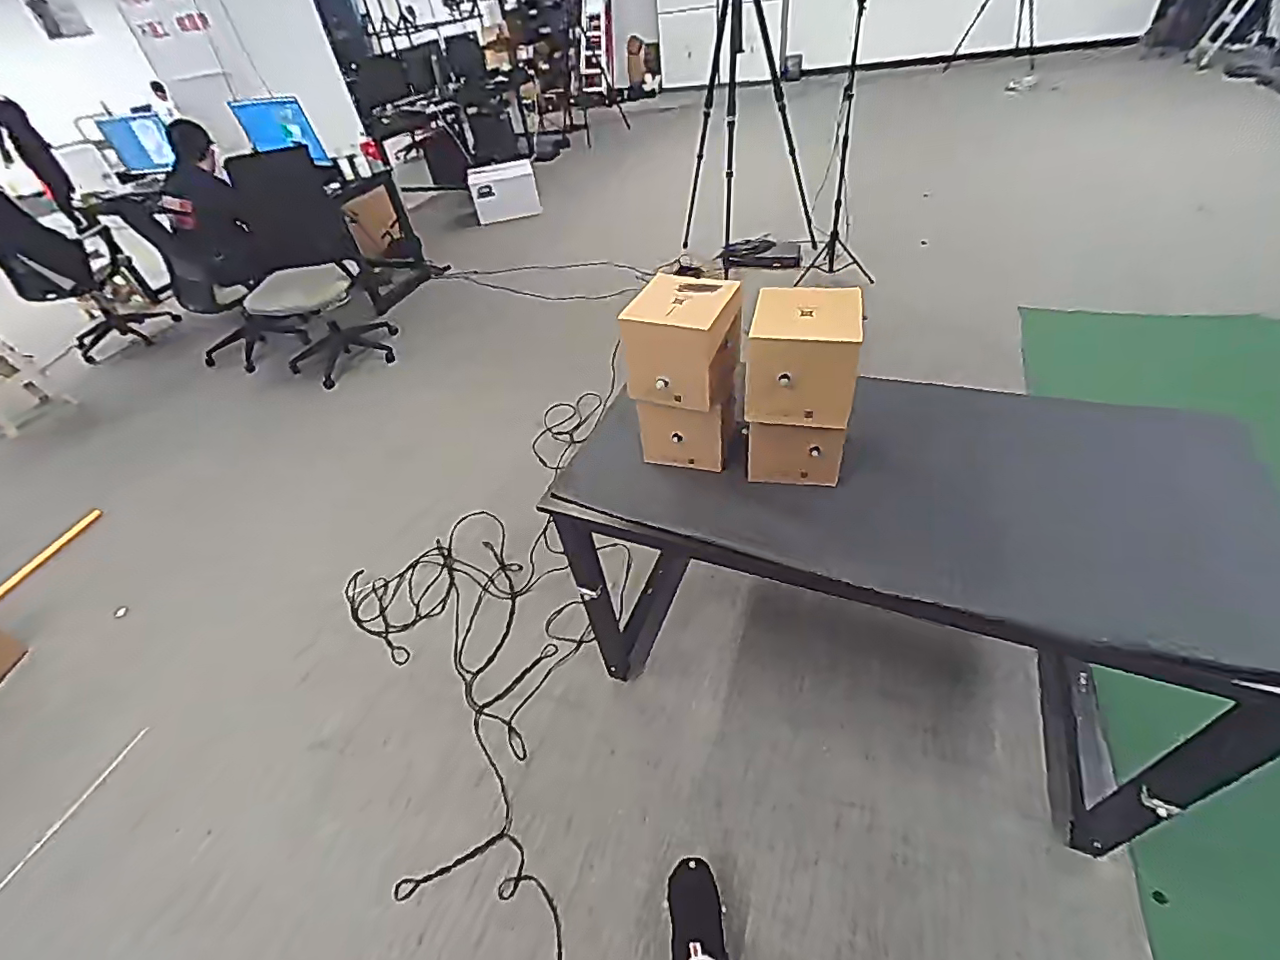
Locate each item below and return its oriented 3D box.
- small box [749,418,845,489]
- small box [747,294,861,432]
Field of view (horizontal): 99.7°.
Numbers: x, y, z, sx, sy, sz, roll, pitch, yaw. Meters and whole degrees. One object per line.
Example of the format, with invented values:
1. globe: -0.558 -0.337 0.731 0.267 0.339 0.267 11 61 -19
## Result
1. small box: 0.300 -0.100 1.042 0.168 0.176 0.179 5 44 13
2. small box: 0.274 -0.198 0.913 0.168 0.176 0.179 6 44 15
